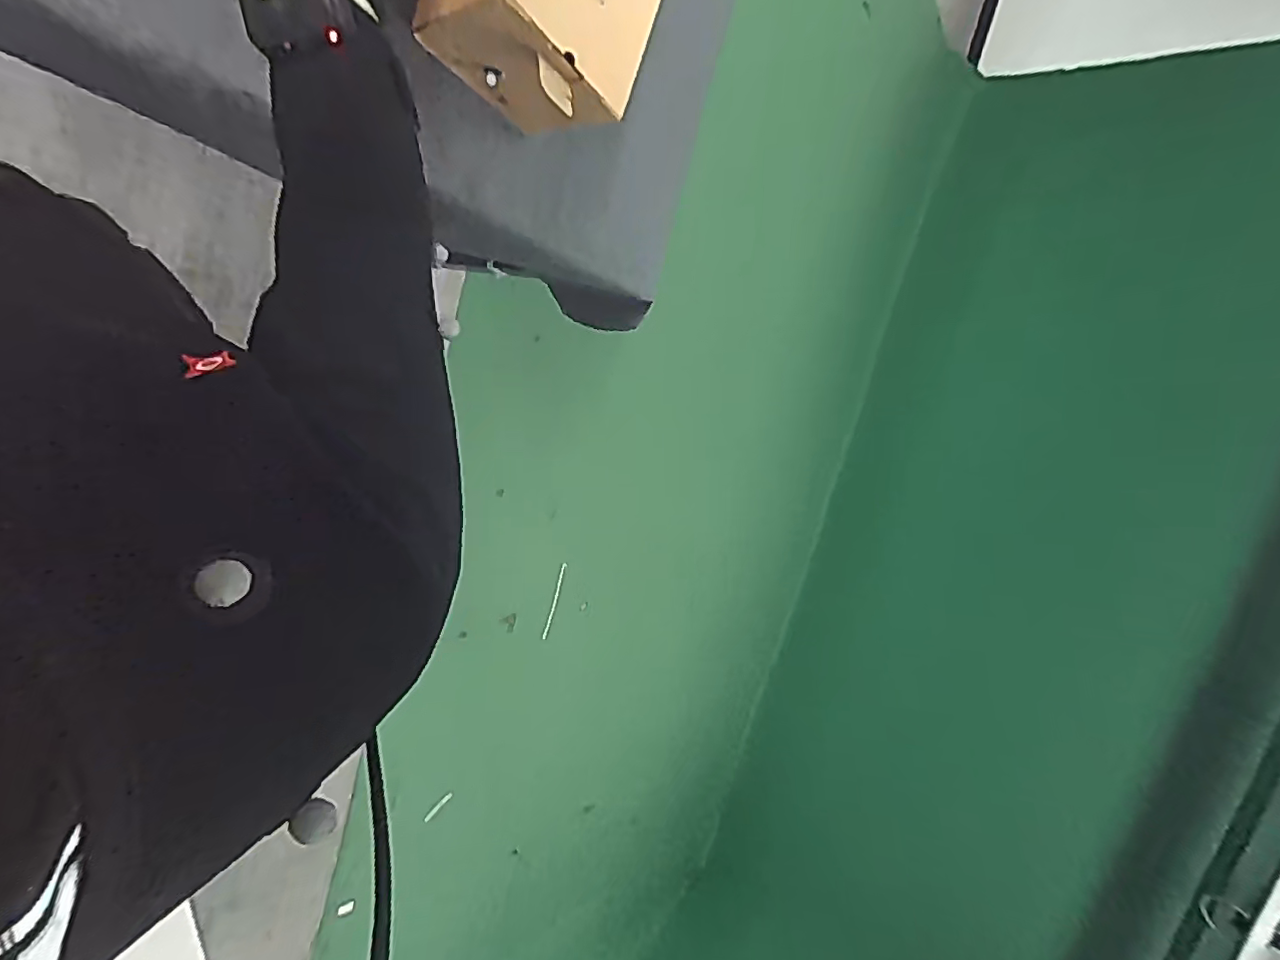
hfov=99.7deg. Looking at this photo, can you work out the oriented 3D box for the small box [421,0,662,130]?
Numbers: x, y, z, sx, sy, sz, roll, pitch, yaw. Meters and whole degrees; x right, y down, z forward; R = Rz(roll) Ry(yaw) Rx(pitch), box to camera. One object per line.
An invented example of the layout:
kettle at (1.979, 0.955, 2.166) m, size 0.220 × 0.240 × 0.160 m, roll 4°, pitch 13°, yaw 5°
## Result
small box at (-0.101, -0.508, 0.569) m, size 0.168 × 0.176 × 0.179 m, roll 14°, pitch 96°, yaw -53°
